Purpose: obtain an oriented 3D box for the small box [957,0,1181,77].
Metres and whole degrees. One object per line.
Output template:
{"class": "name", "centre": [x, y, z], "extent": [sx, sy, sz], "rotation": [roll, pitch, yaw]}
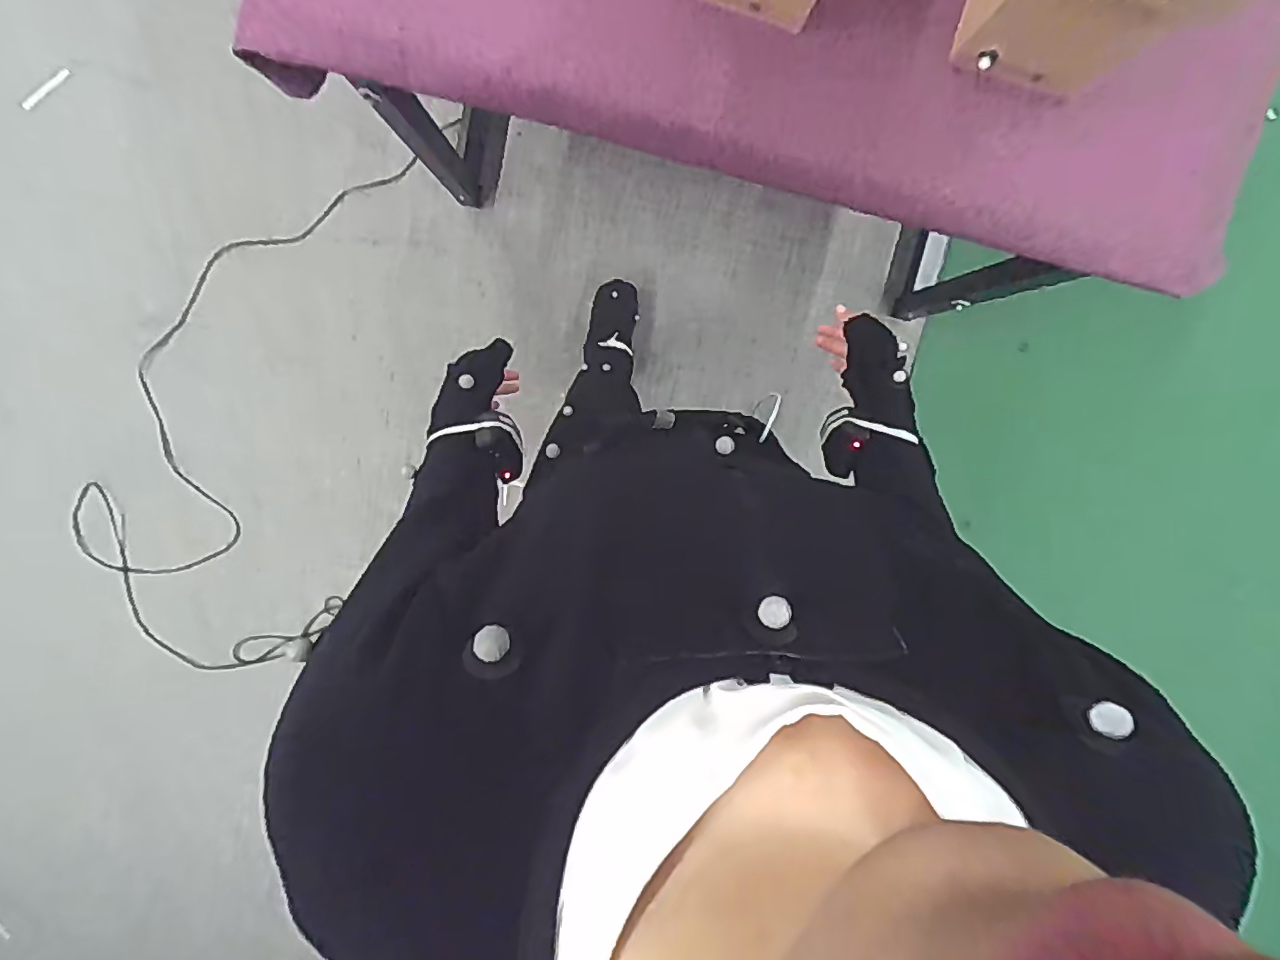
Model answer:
{"class": "small box", "centre": [0.467, -0.567, 0.553], "extent": [0.168, 0.176, 0.179], "rotation": [17, 100, -7]}
